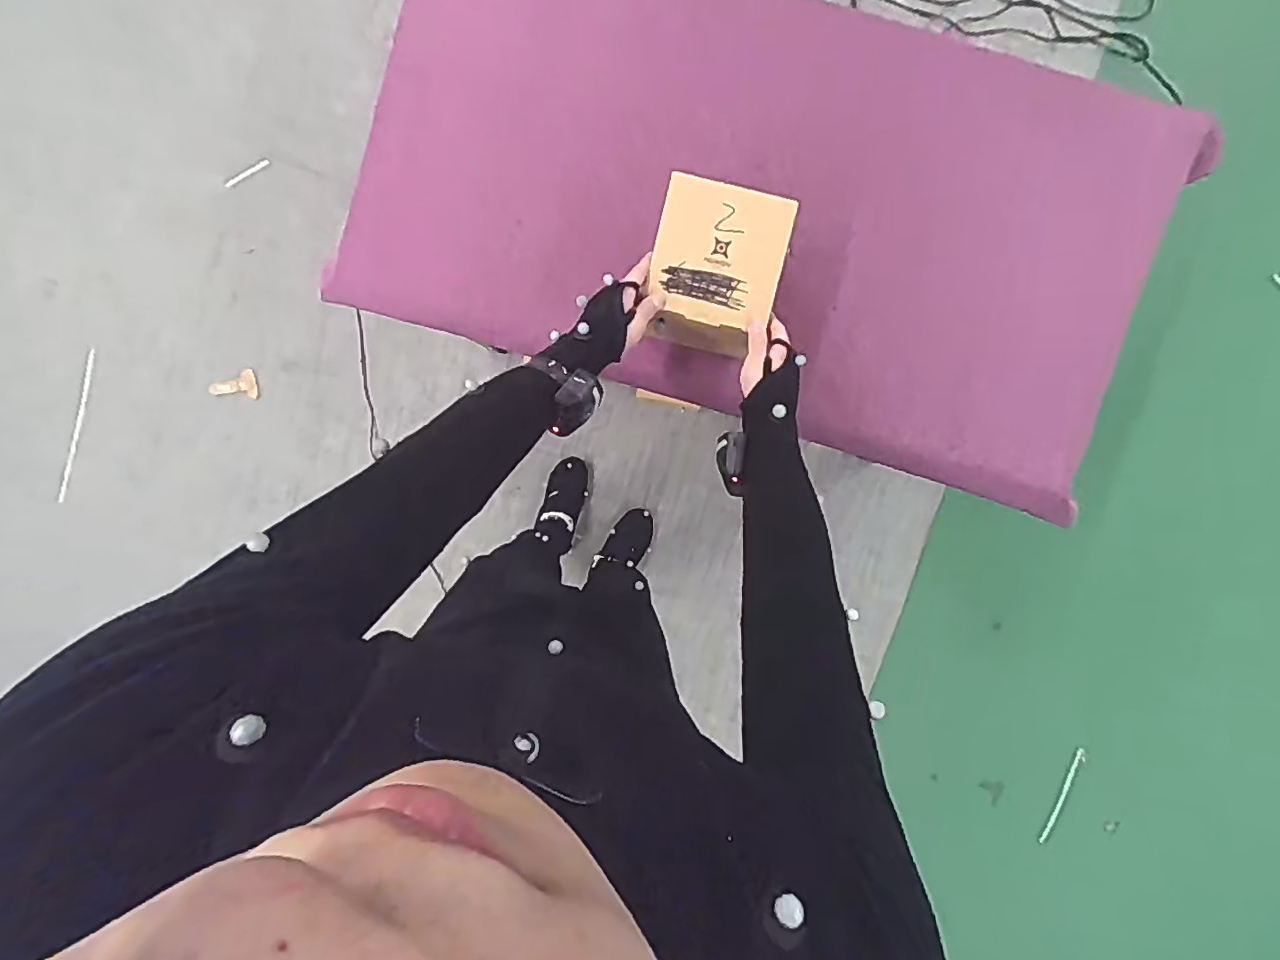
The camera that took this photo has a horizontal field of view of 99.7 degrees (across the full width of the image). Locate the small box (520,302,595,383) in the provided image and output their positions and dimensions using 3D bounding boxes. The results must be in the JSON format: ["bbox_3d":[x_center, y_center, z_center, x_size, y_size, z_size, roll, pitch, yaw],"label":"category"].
[{"bbox_3d":[-0.219,-0.367,1.478,0.168,0.176,0.179,8,94,0],"label":"small box"}]

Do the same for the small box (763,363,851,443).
[{"bbox_3d":[0.447,-0.204,1.479,0.168,0.176,0.179,14,93,-1],"label":"small box"}]

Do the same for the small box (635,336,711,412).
[{"bbox_3d":[0.087,-0.282,1.480,0.179,0.176,0.168,10,93,1],"label":"small box"}]
